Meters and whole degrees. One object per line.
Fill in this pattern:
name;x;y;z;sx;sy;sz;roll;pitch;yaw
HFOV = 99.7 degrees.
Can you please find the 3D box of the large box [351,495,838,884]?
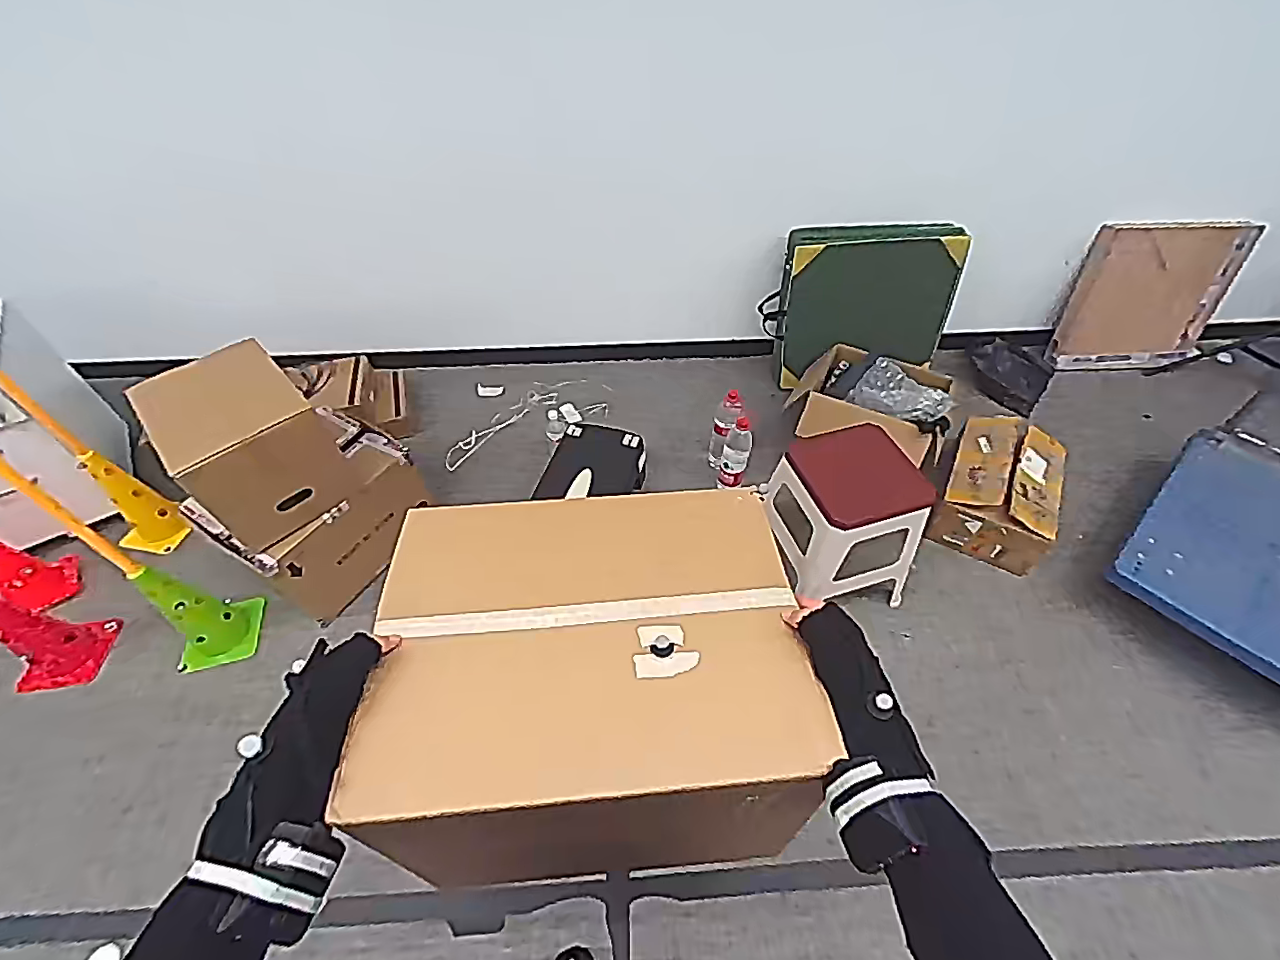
large box;-0.046;0.243;0.642;0.408;0.320;0.320;-3;45;-4
